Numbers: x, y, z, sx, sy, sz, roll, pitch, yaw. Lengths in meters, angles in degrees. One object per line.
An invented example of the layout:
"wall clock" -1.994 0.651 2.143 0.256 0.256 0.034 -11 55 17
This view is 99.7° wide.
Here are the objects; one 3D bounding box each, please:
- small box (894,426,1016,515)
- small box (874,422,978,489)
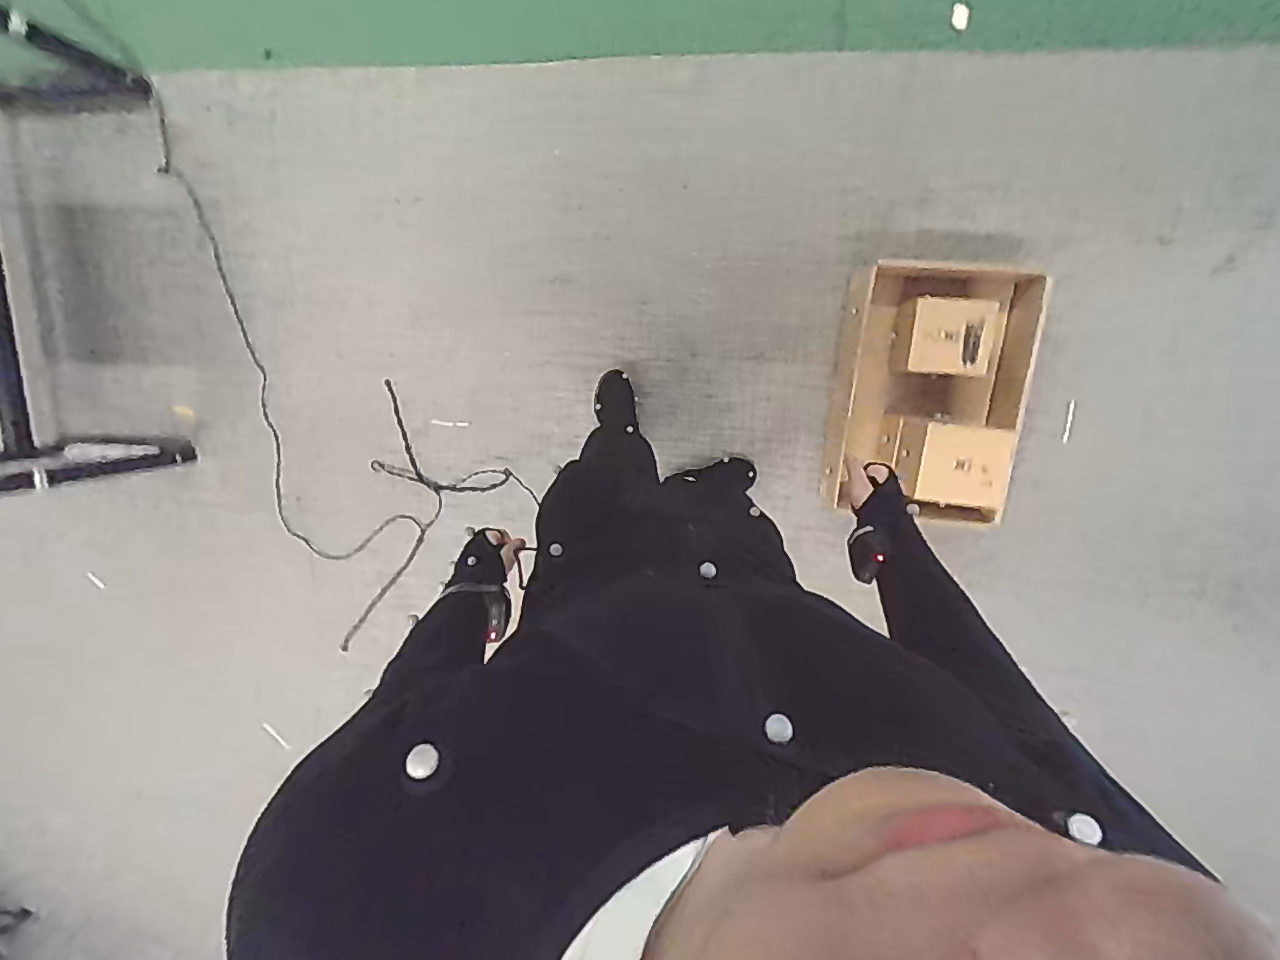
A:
"small box" 0.694 -0.028 1.217 0.179 0.176 0.168 8 101 7
"small box" 0.716 -0.057 1.378 0.179 0.176 0.168 8 100 7
